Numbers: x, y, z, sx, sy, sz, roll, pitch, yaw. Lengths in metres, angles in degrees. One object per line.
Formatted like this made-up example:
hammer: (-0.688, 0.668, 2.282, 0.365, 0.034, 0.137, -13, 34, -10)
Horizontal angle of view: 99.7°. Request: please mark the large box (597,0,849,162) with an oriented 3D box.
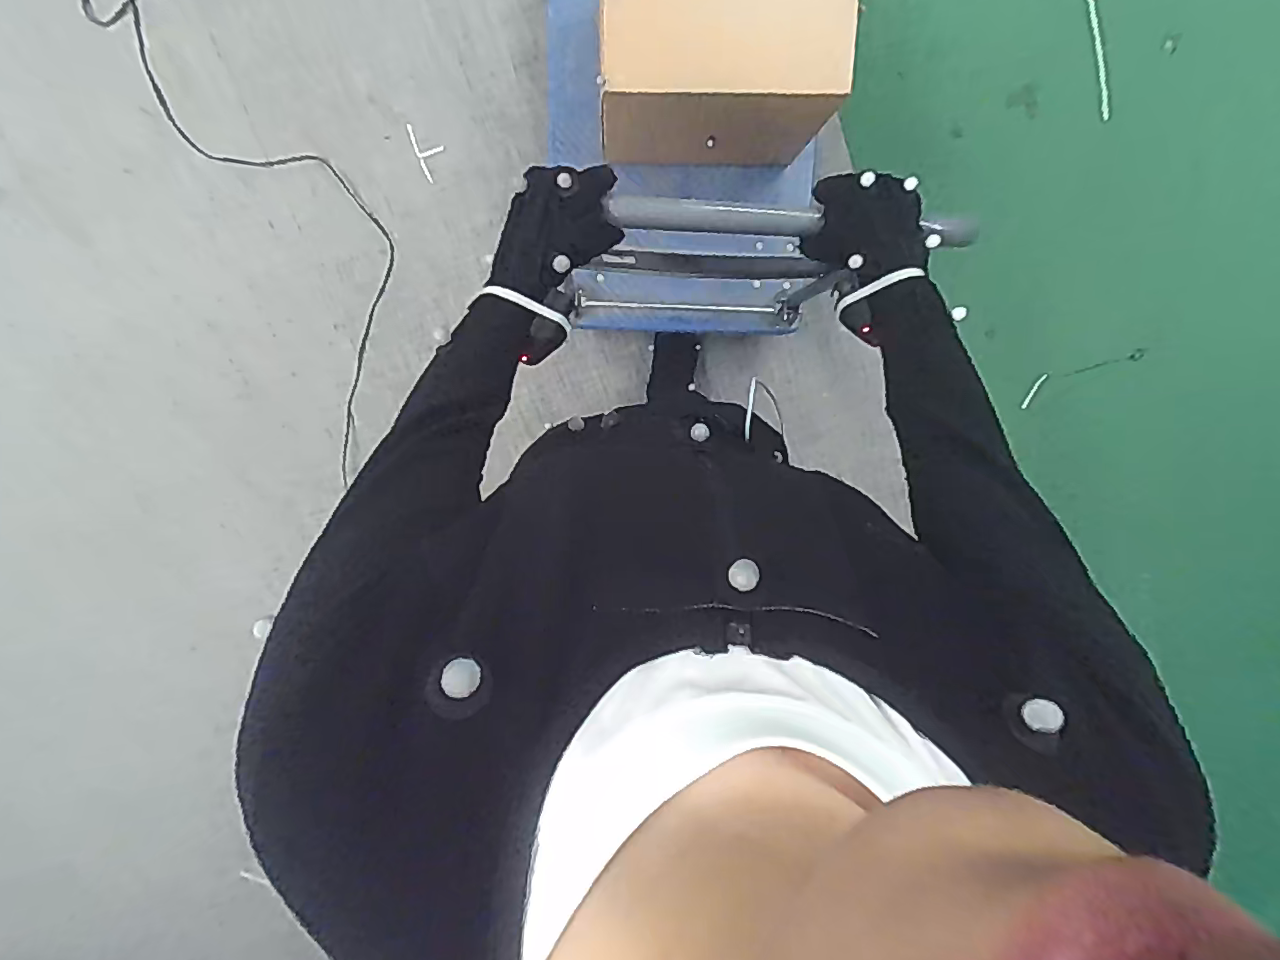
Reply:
large box: (0.128, -0.802, 0.987, 0.408, 0.320, 0.320, -2, 101, -3)
